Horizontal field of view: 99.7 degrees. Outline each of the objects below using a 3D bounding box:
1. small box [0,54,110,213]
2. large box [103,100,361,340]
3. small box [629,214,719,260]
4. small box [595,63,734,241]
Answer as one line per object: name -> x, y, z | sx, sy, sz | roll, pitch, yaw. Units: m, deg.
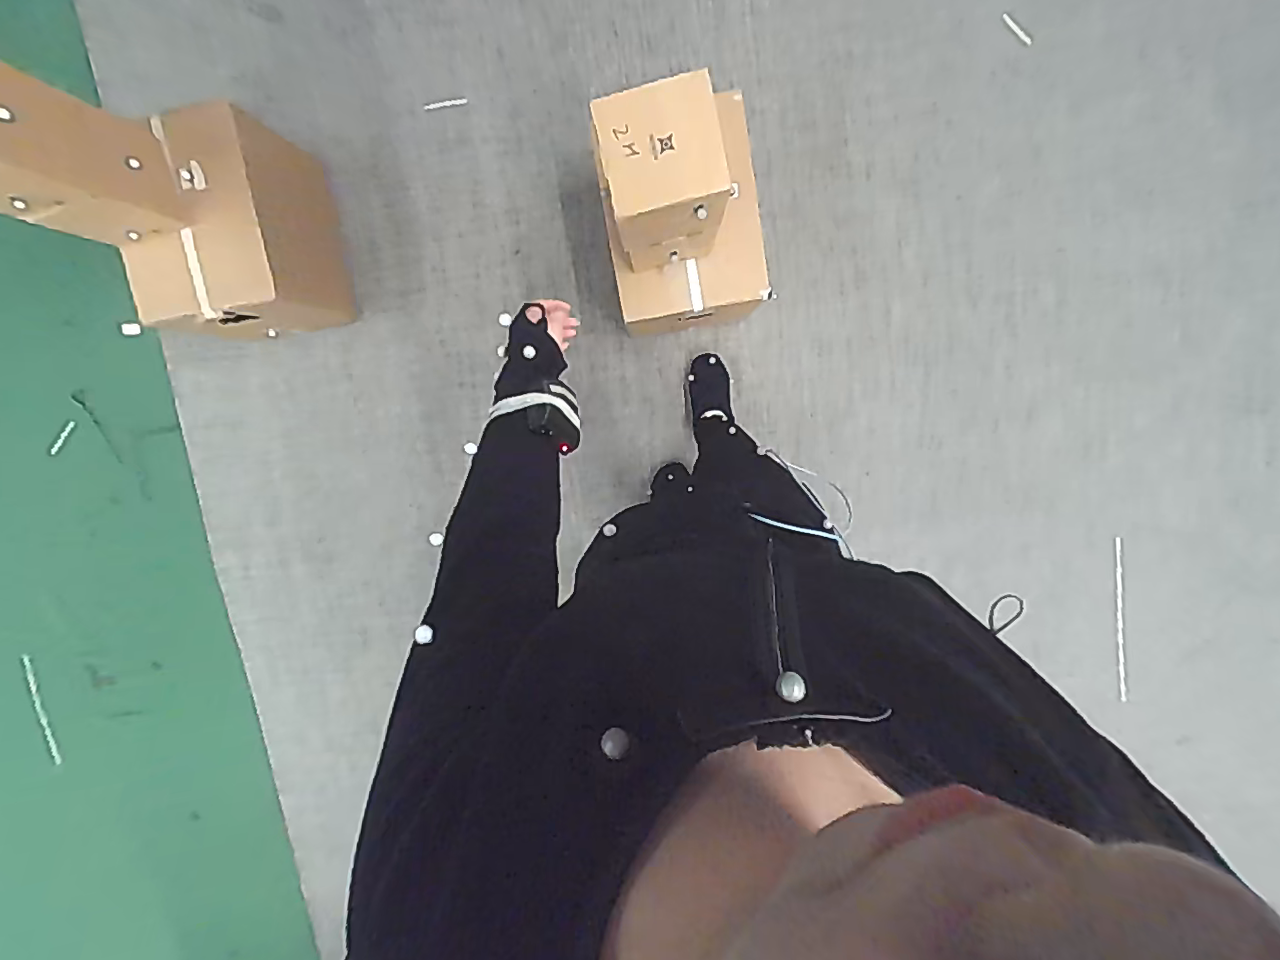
small box -> -1.042, -0.567, 0.883 | 0.168, 0.176, 0.179 | -9, 98, 6
large box -> -0.932, -0.579, 1.288 | 0.320, 0.320, 0.408 | -9, 96, 4
small box -> 0.049, -0.530, 1.020 | 0.168, 0.176, 0.179 | -13, 98, 5
small box -> 0.039, -0.503, 0.856 | 0.179, 0.176, 0.168 | -13, 96, 5
